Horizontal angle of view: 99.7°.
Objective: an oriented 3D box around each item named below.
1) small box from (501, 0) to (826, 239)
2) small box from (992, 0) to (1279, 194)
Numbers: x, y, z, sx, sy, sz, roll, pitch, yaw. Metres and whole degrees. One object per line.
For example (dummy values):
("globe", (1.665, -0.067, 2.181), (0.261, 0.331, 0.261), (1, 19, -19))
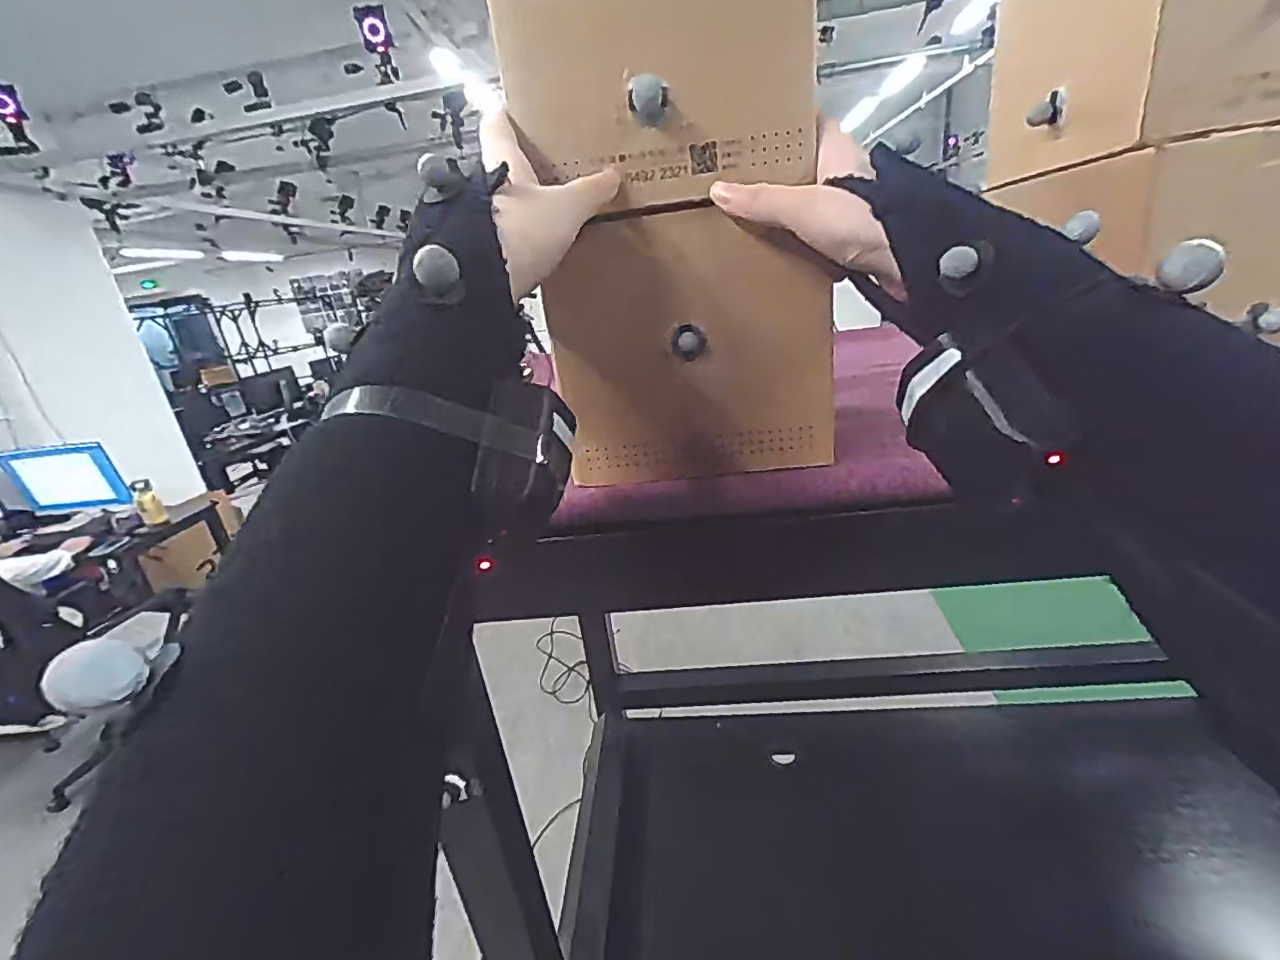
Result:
("small box", (0.013, -0.254, 0.346), (0.168, 0.176, 0.179), (-6, 22, 4))
("small box", (0.372, -0.307, 0.365), (0.168, 0.176, 0.179), (-6, 20, 5))
